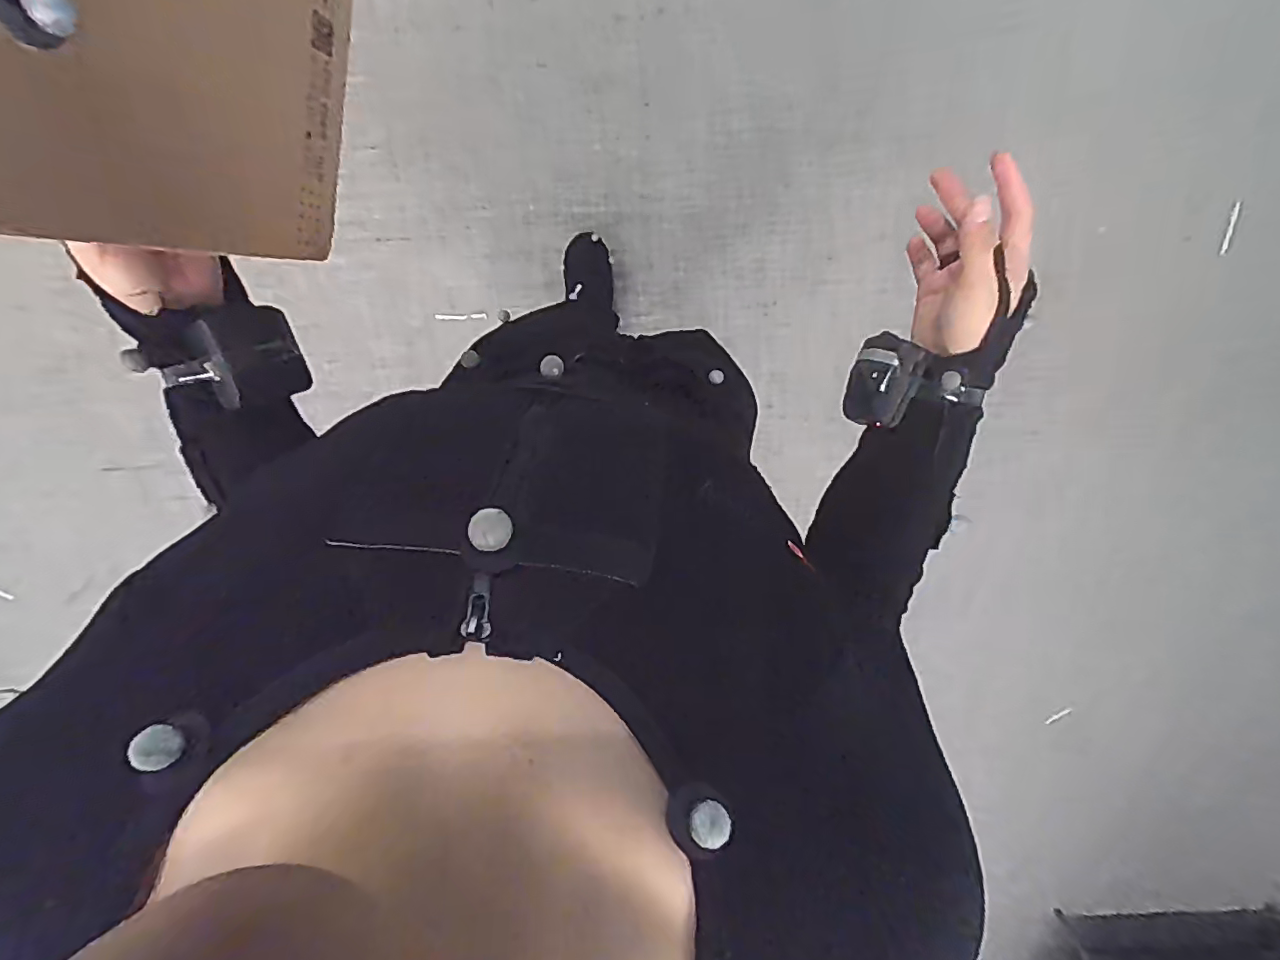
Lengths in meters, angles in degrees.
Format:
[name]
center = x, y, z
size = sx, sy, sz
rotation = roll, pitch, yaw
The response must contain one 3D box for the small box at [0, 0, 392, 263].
[small box]
center = -0.233, -0.193, 0.214
size = 0.179, 0.176, 0.168
rotation = 17, 111, 0
